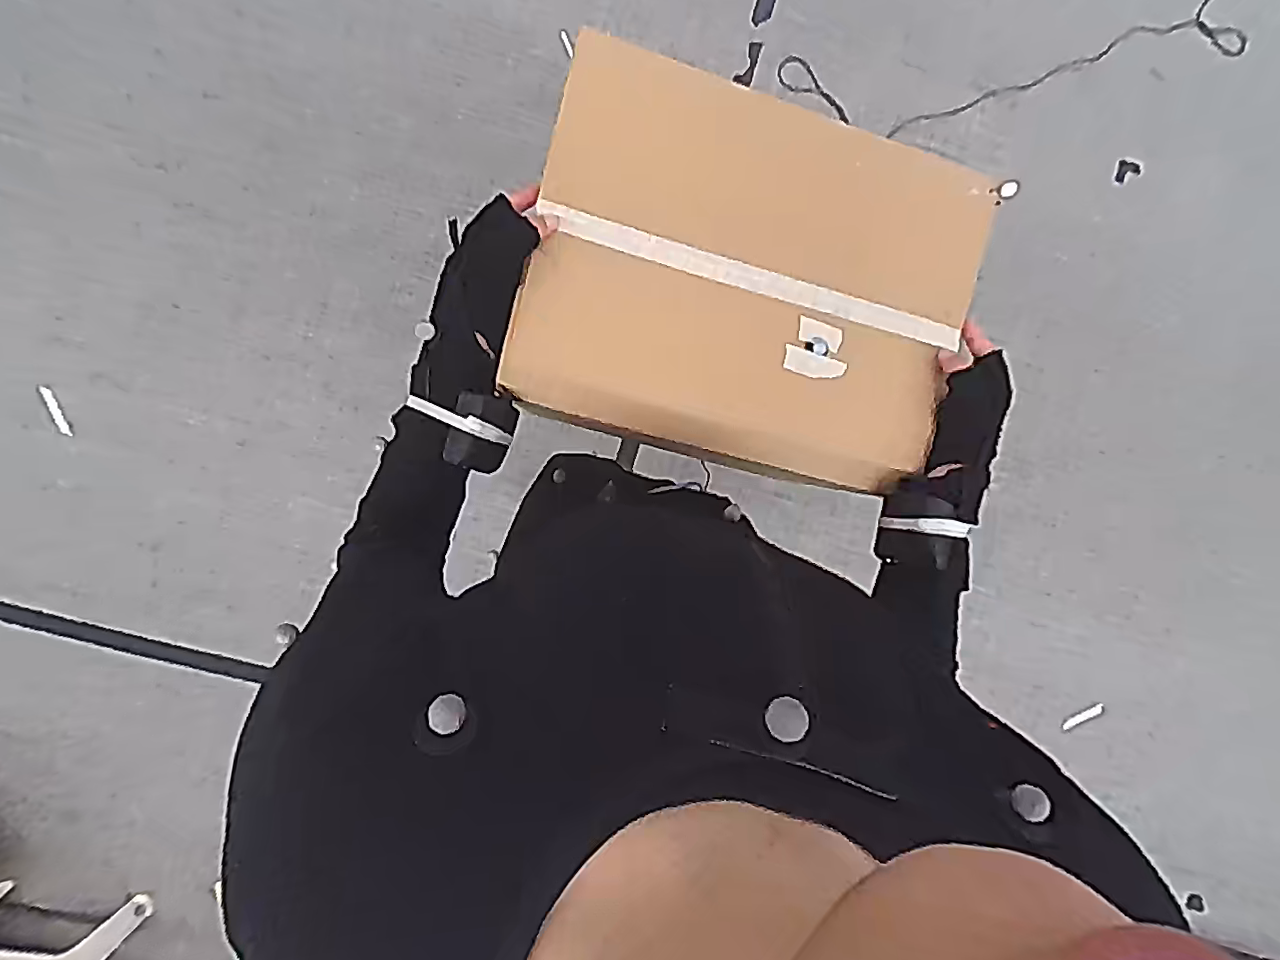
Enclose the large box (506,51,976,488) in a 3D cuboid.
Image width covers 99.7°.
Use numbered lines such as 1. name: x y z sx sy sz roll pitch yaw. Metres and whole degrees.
1. large box: 0.081 -0.192 0.647 0.408 0.320 0.320 14 93 -9
